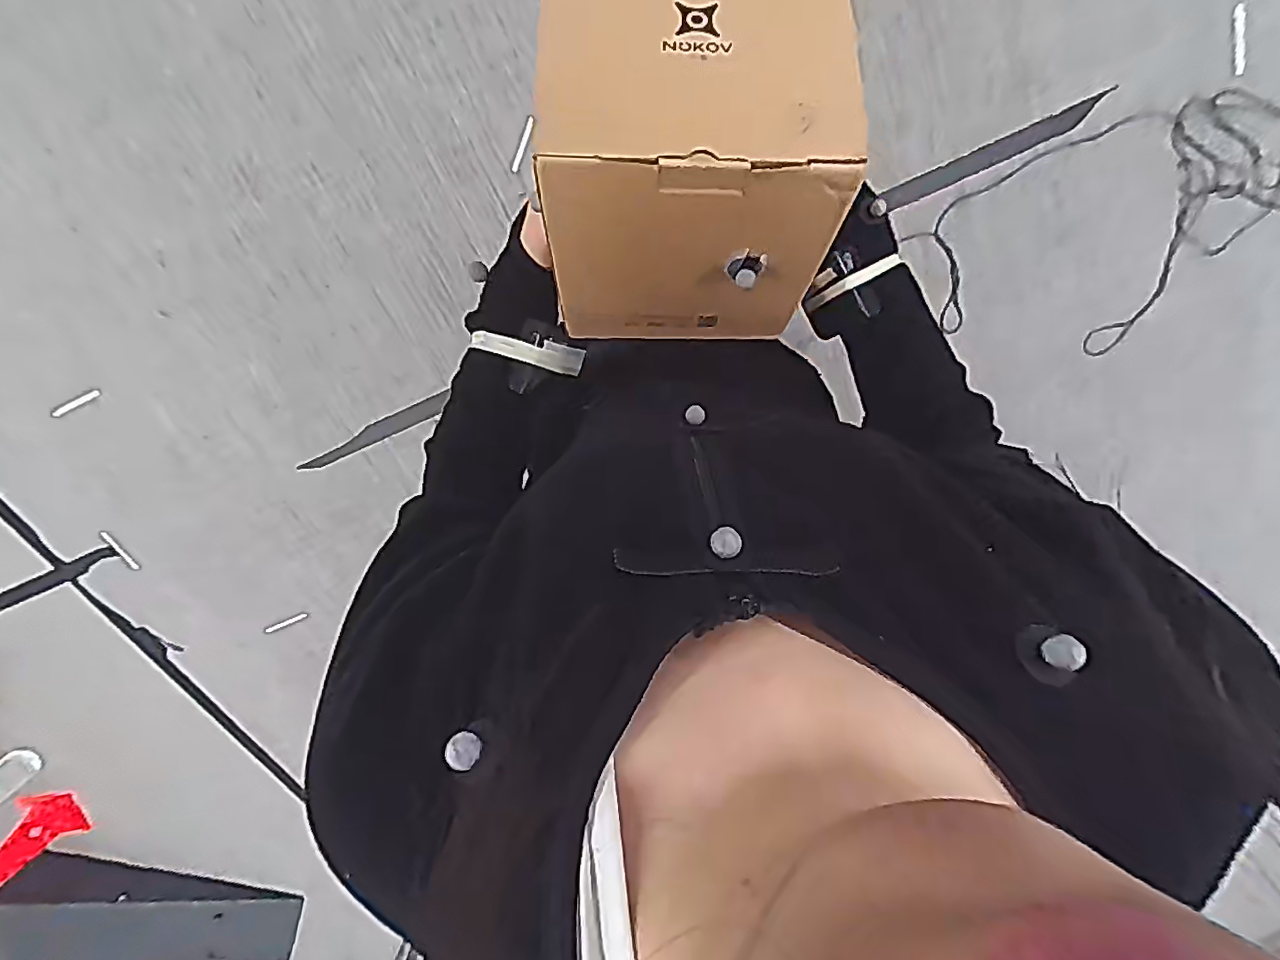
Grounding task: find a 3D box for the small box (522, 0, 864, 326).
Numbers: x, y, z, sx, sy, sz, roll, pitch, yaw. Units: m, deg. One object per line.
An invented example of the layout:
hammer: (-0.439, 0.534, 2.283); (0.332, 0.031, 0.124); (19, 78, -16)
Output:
small box: (0.024, -0.217, 0.353); (0.168, 0.176, 0.179); (0, 74, -2)
